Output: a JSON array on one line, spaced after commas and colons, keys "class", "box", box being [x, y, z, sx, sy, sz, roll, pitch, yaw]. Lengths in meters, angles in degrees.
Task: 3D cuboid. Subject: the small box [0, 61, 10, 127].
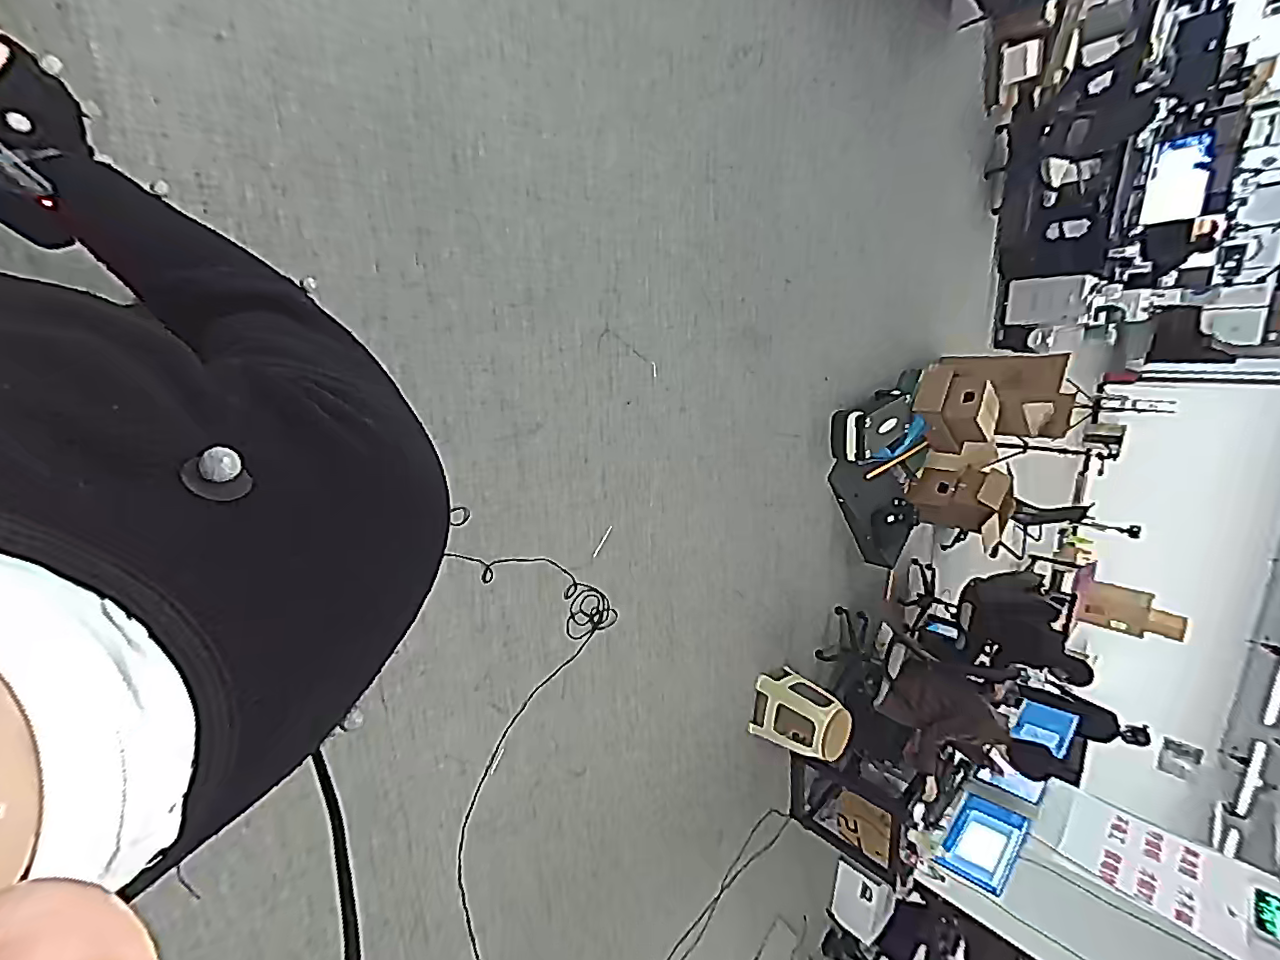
[{"class": "small box", "box": [-0.638, -0.416, 0.413, 0.168, 0.176, 0.179, -12, 99, -39]}]
